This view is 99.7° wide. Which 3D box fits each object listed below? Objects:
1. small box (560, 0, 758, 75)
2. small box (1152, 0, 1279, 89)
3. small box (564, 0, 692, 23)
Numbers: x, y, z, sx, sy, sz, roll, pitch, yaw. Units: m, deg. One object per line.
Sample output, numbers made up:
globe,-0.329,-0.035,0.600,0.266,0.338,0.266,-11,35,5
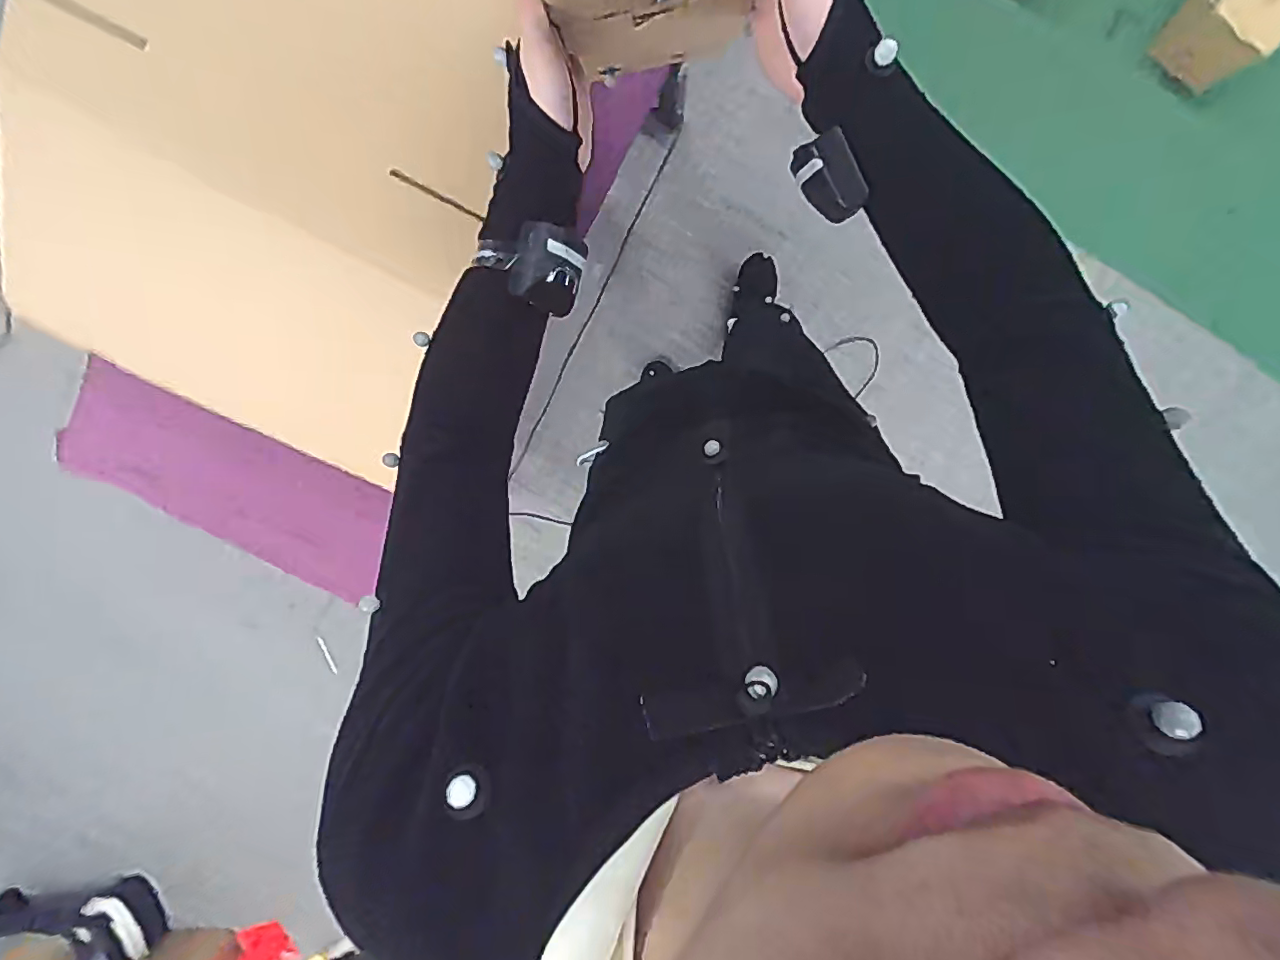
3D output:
small box,0.011,-0.470,0.452,0.168,0.176,0.179,-9,112,4
small box,1.349,-1.053,1.232,0.168,0.176,0.179,32,104,-5
small box,0.006,-0.405,0.301,0.168,0.176,0.179,-8,114,5
